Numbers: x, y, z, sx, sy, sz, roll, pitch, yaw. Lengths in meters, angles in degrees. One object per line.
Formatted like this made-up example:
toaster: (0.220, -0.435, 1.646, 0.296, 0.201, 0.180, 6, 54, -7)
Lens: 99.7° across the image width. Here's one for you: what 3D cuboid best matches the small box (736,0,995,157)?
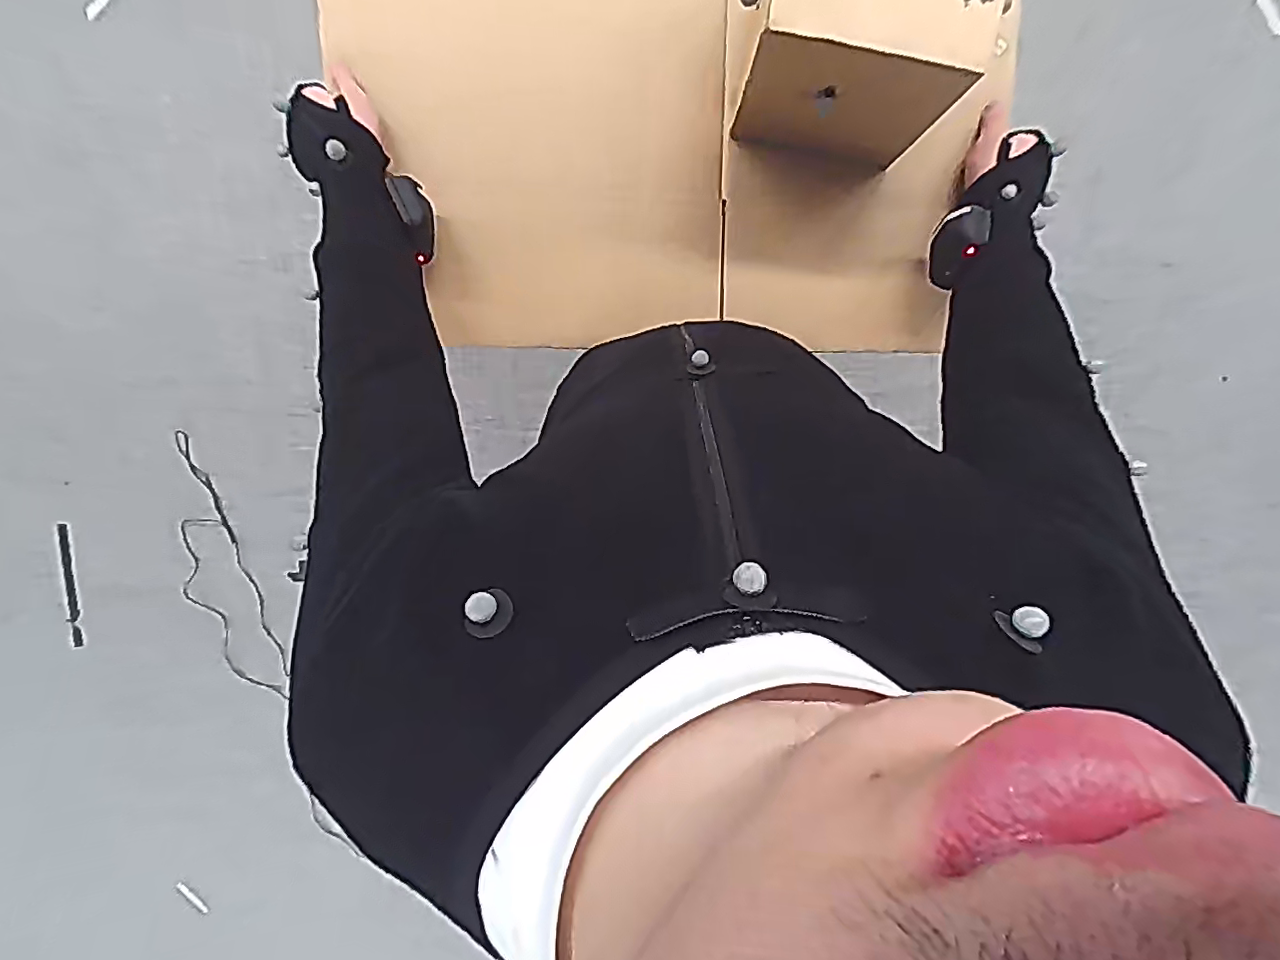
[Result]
small box: (0.193, -0.420, 0.485, 0.179, 0.176, 0.168, 10, 99, 0)
